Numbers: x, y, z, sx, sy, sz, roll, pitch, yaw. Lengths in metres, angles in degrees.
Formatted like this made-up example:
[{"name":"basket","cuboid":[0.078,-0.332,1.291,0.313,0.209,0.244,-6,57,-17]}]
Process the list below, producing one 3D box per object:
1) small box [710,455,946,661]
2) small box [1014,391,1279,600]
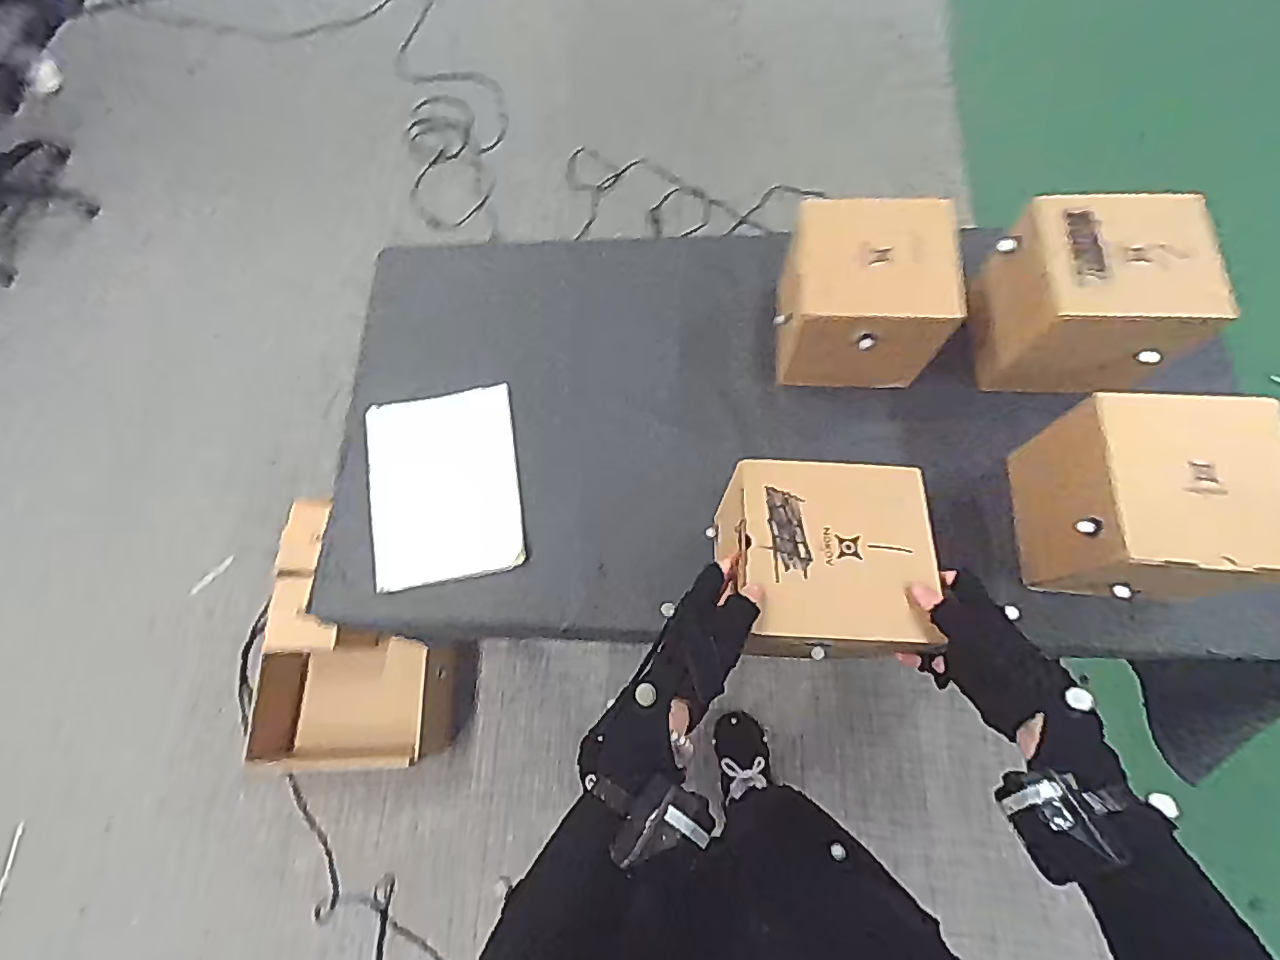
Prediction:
[{"name":"small box","cuboid":[0.170,0.089,0.552,0.179,0.176,0.168,4,66,-2]},{"name":"small box","cuboid":[0.538,0.024,0.584,0.168,0.176,0.179,4,71,7]}]
